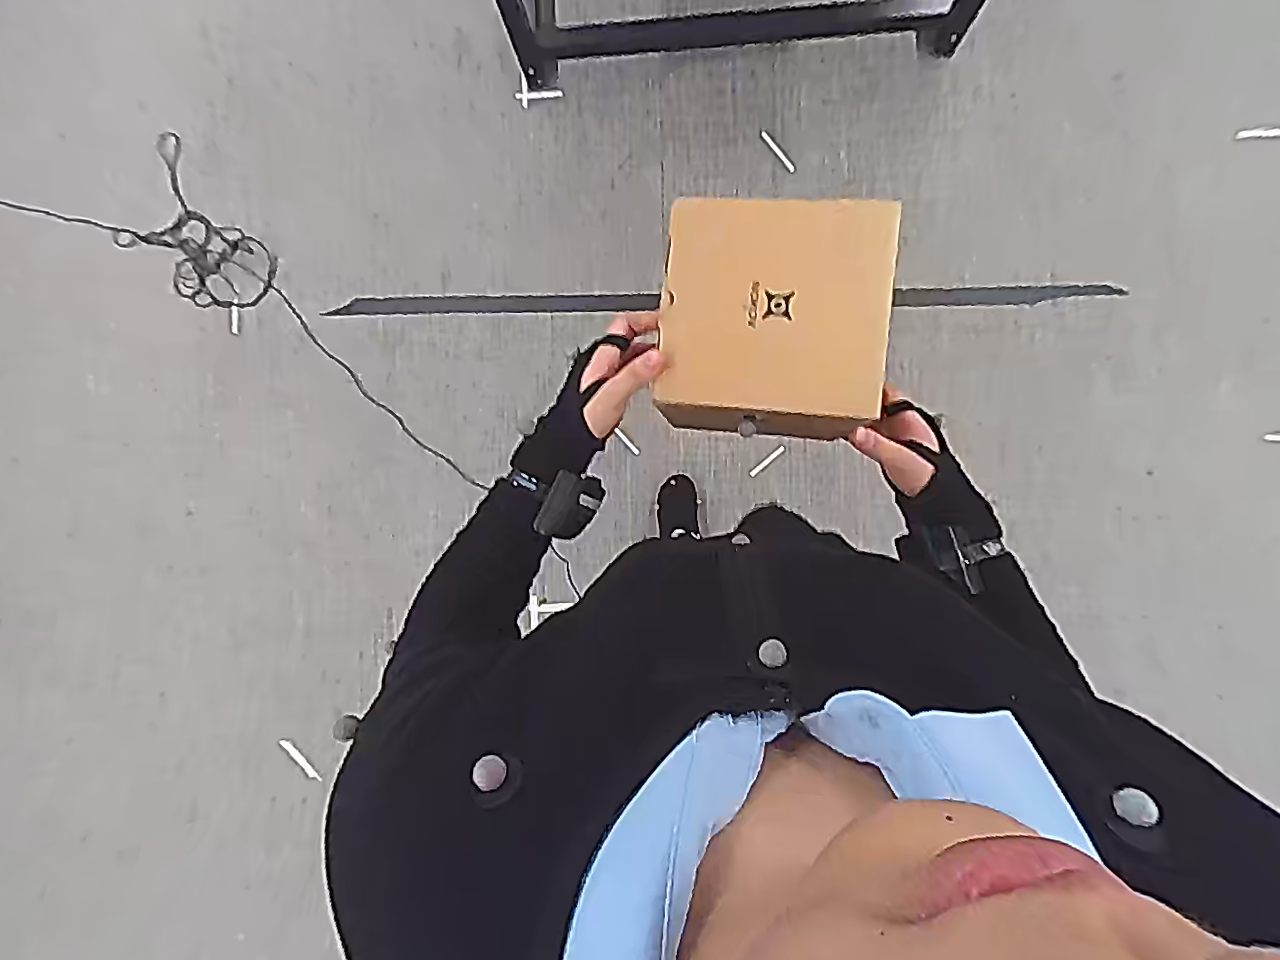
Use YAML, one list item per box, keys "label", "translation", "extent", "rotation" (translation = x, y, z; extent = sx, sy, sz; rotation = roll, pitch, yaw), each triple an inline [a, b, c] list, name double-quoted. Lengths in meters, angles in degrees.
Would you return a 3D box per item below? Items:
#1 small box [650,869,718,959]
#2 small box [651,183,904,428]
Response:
- label: "small box"
  translation: [0.111, 1.154, 1.404]
  extent: [0.168, 0.176, 0.179]
  rotation: [2, 90, 4]
- label: "small box"
  translation: [0.116, -0.143, 0.493]
  extent: [0.179, 0.176, 0.168]
  rotation: [6, 89, 11]
